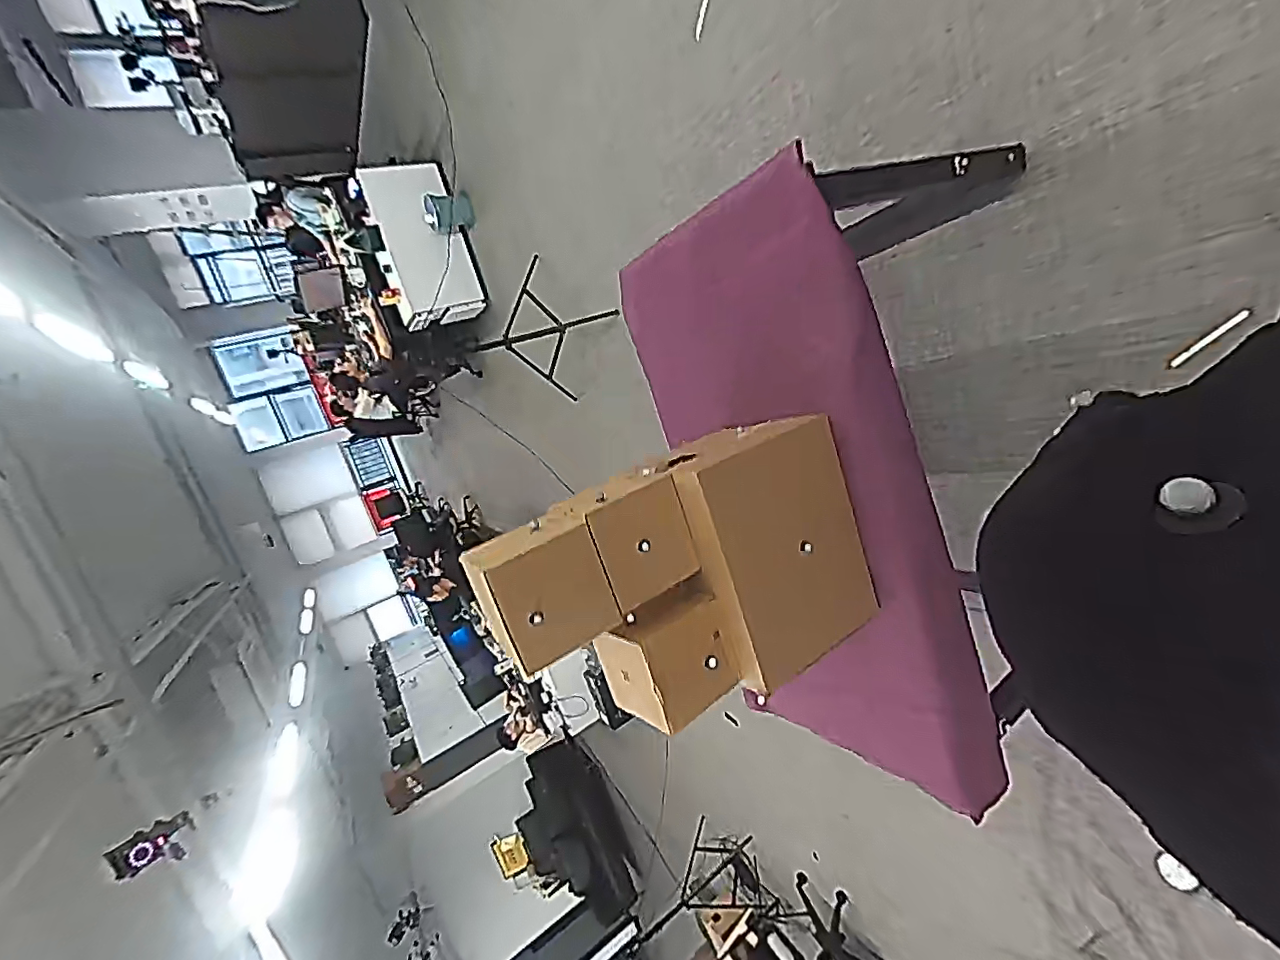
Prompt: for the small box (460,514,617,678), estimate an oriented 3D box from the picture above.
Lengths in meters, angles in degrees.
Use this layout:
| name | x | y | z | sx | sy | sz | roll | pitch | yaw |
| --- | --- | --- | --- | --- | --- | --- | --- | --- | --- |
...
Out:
| name | x | y | z | sx | sy | sz | roll | pitch | yaw |
| --- | --- | --- | --- | --- | --- | --- | --- | --- | --- |
| small box | -0.159 | 0.171 | 0.857 | 0.168 | 0.176 | 0.179 | 2 | 114 | 61 |
